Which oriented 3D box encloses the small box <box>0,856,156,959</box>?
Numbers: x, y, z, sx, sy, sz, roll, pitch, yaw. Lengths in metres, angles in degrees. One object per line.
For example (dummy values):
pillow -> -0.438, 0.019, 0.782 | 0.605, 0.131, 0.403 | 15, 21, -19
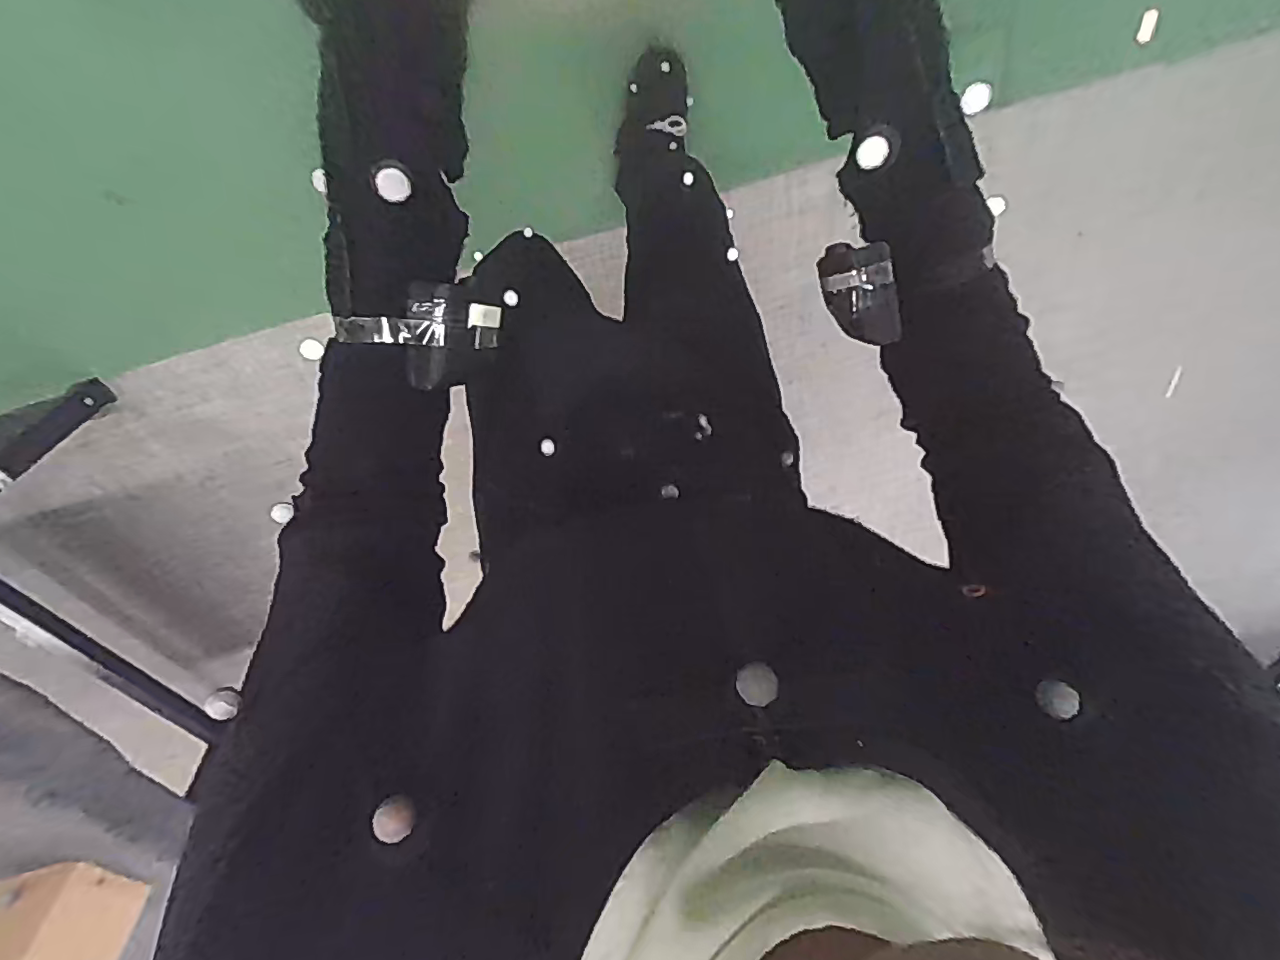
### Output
small box -> -1.011, 0.782, 0.931 | 0.179, 0.176, 0.168 | -15, 129, 3
